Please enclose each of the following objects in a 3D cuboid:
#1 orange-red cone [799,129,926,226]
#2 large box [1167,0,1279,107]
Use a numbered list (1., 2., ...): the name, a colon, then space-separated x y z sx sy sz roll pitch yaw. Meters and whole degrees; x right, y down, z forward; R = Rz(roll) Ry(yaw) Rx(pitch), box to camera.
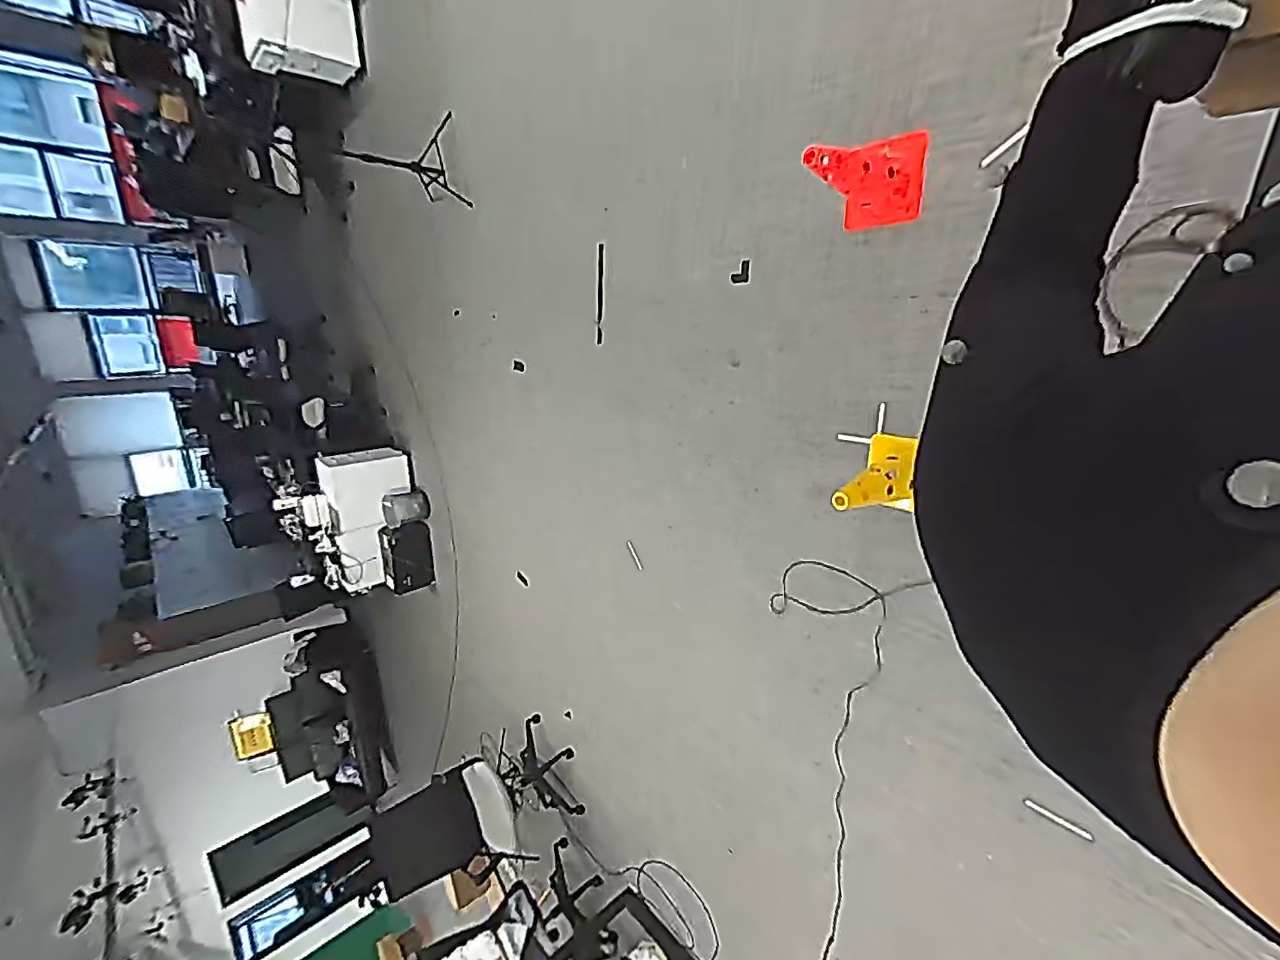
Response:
1. orange-red cone: 0.488 -0.725 1.263 0.198 0.360 0.199 16 114 46
2. large box: 0.594 -0.443 0.276 0.408 0.320 0.320 18 120 45
